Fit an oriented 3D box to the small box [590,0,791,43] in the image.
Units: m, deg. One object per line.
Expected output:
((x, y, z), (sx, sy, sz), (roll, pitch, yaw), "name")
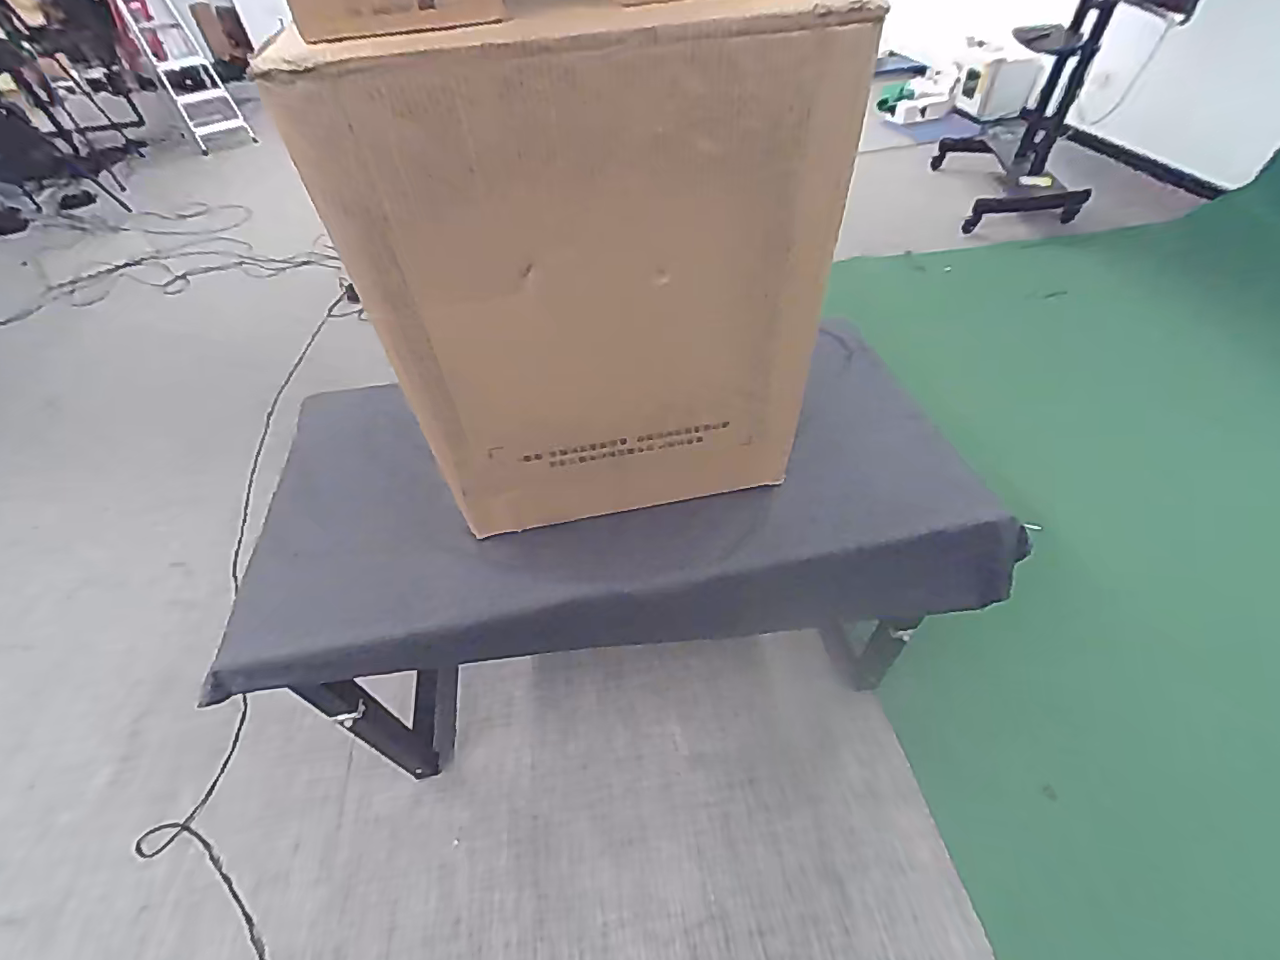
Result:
((0.046, -0.521, 0.486), (0.179, 0.176, 0.168), (-13, 50, -8), "small box")

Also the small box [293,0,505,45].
((-0.213, -0.478, 0.440), (0.168, 0.176, 0.179), (-11, 51, -7), "small box")
